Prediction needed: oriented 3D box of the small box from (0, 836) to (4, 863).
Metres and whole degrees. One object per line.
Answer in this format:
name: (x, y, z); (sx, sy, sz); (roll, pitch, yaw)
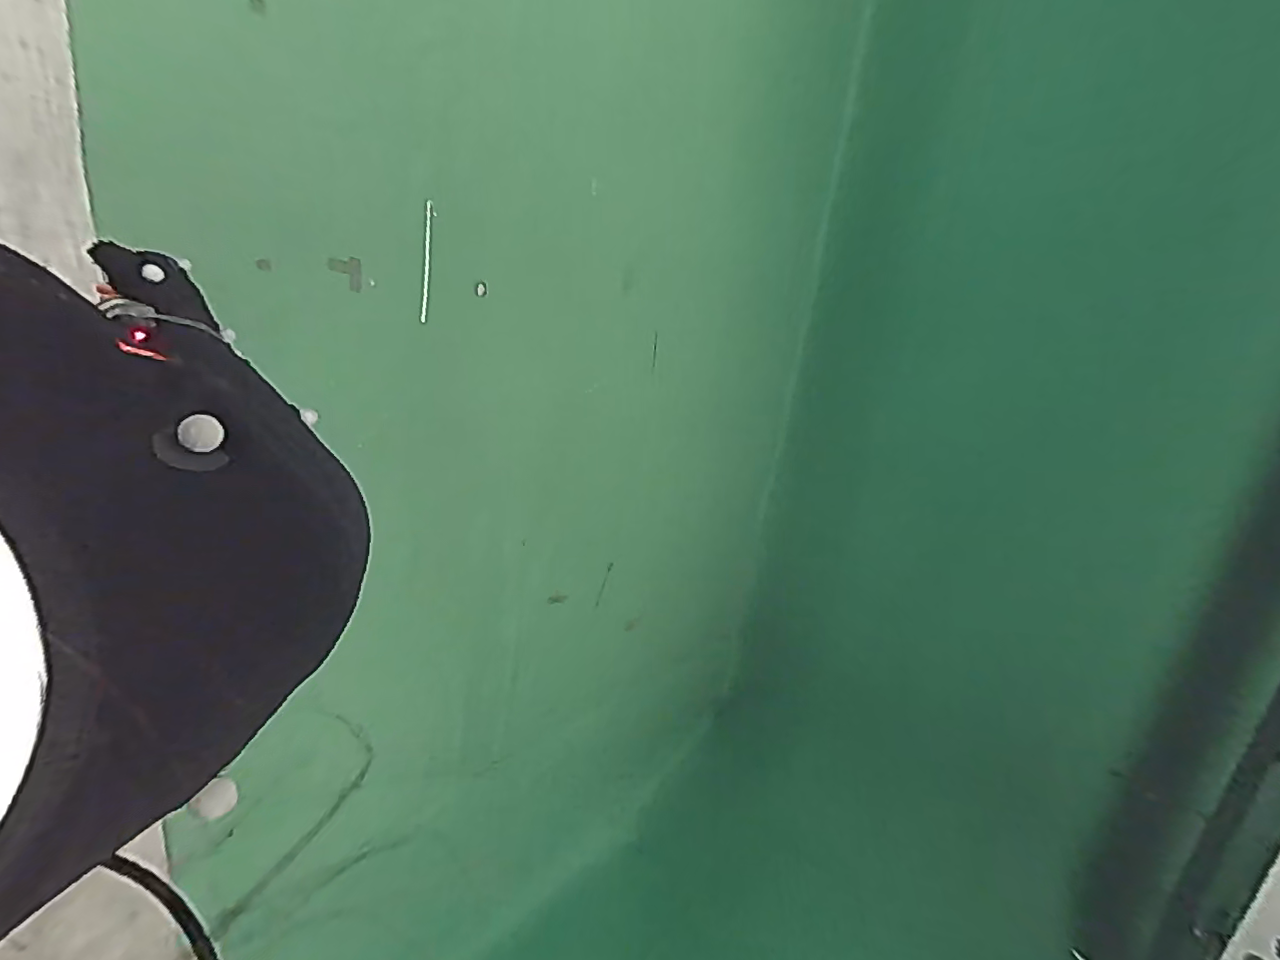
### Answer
small box: (-1.278, 0.629, 0.940); (0.168, 0.176, 0.179); (-31, 130, -42)
